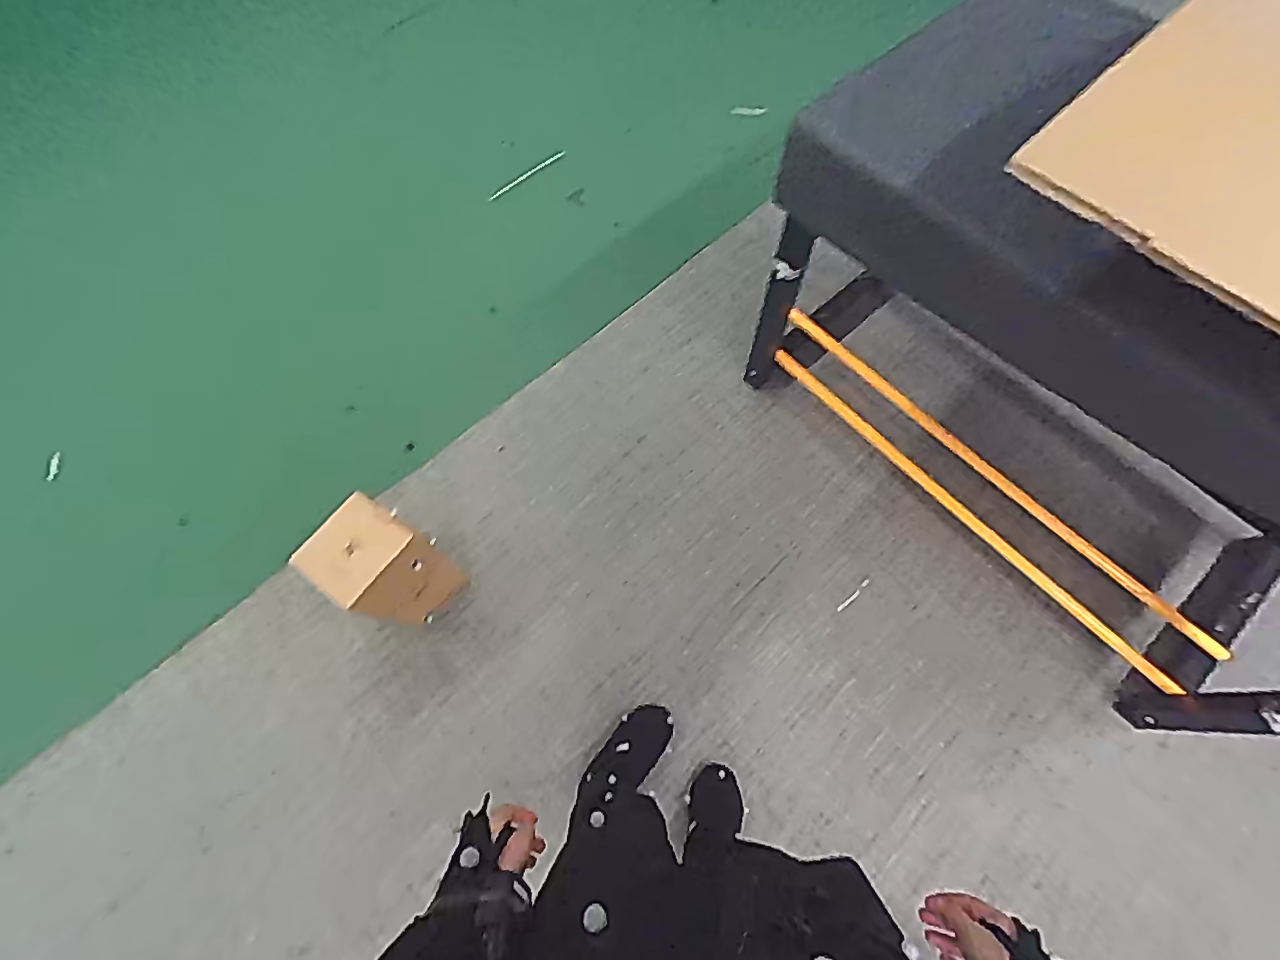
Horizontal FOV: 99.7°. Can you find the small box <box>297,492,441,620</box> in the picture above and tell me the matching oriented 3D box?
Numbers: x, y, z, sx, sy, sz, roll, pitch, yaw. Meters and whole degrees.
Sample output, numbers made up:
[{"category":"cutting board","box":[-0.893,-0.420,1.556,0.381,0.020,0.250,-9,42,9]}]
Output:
[{"category":"small box","box":[-0.532,0.159,1.098,0.168,0.176,0.179,33,73,16]}]

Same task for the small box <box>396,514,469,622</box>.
[{"category":"small box","box":[-0.528,0.212,1.251,0.179,0.176,0.168,36,73,16]}]
